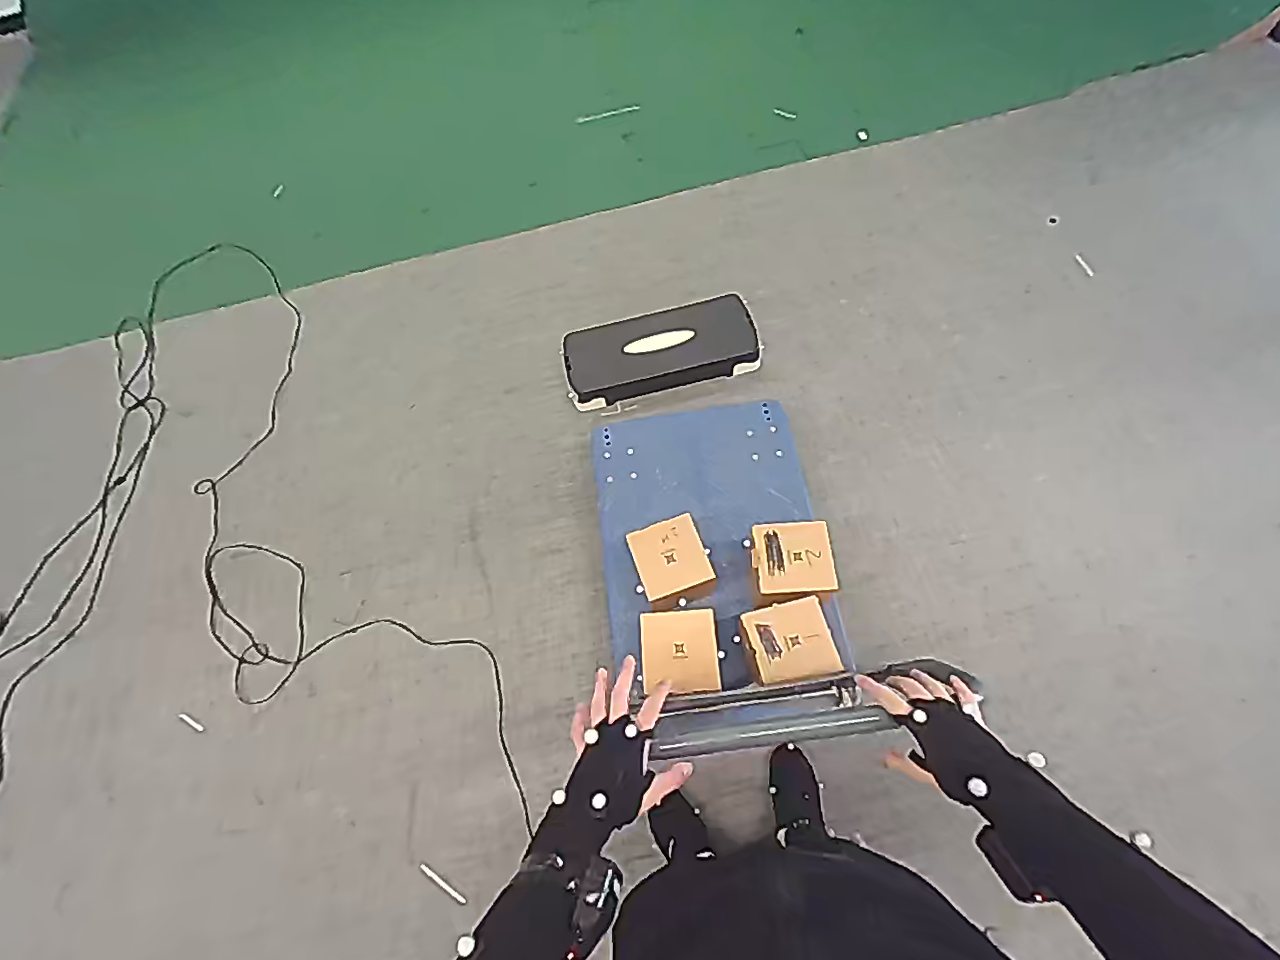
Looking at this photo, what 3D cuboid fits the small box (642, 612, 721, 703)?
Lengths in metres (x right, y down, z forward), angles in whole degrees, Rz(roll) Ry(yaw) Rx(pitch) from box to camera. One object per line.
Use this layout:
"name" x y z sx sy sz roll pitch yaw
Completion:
"small box" 0.091 0.413 1.245 0.168 0.176 0.179 -4 65 2

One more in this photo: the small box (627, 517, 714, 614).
"small box" 0.077 0.219 1.338 0.168 0.176 0.179 -18 64 -4
